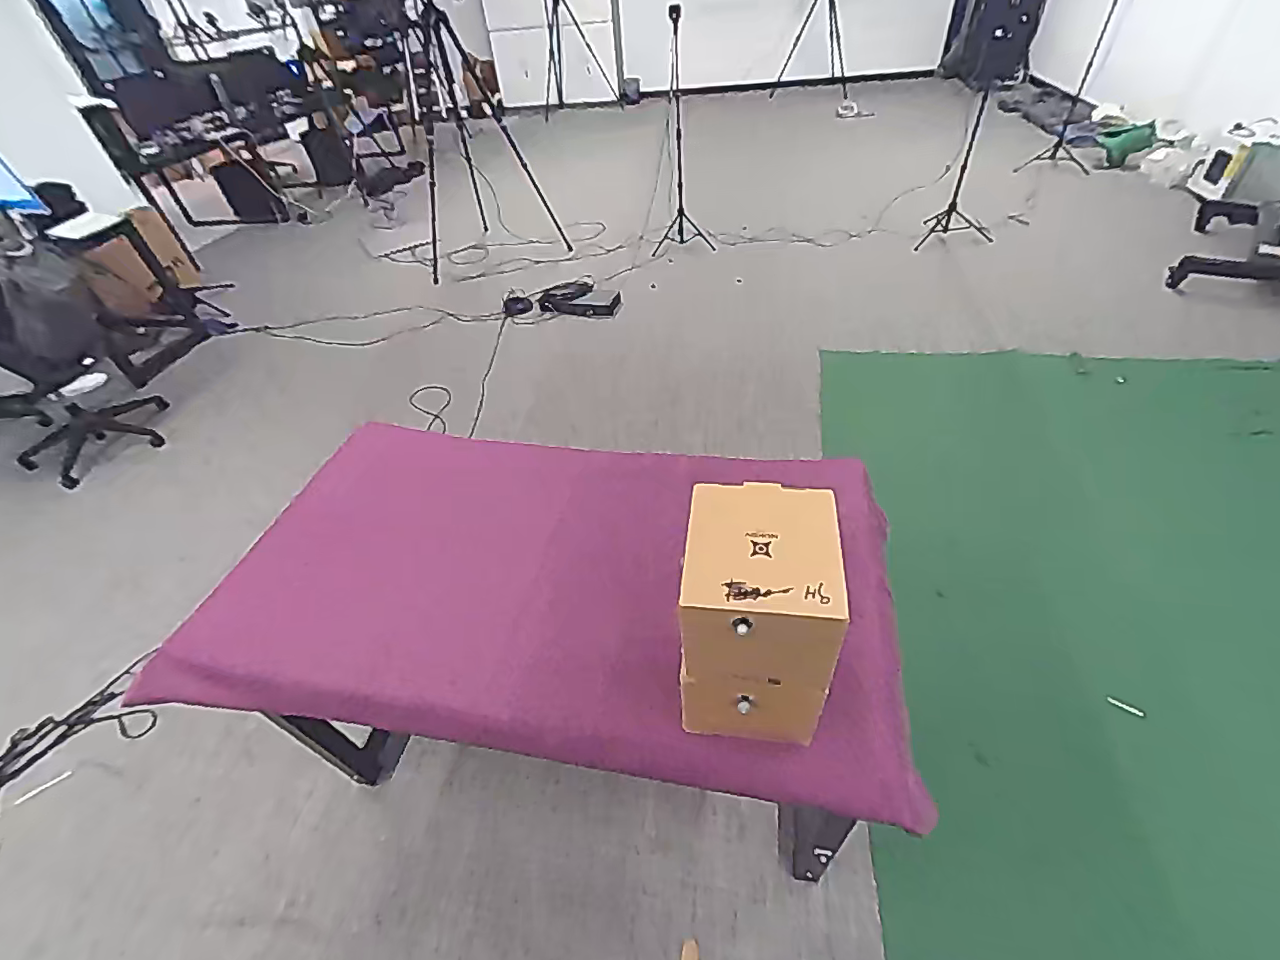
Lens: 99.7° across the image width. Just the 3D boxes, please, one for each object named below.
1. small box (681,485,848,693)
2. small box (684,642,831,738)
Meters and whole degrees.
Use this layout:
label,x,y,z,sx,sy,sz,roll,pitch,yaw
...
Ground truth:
label,x,y,z,sx,sy,sz,roll,pitch,yaw
small box,0.144,0.126,0.645,0.168,0.176,0.179,1,45,12
small box,0.161,0.245,0.758,0.179,0.176,0.168,1,45,12
